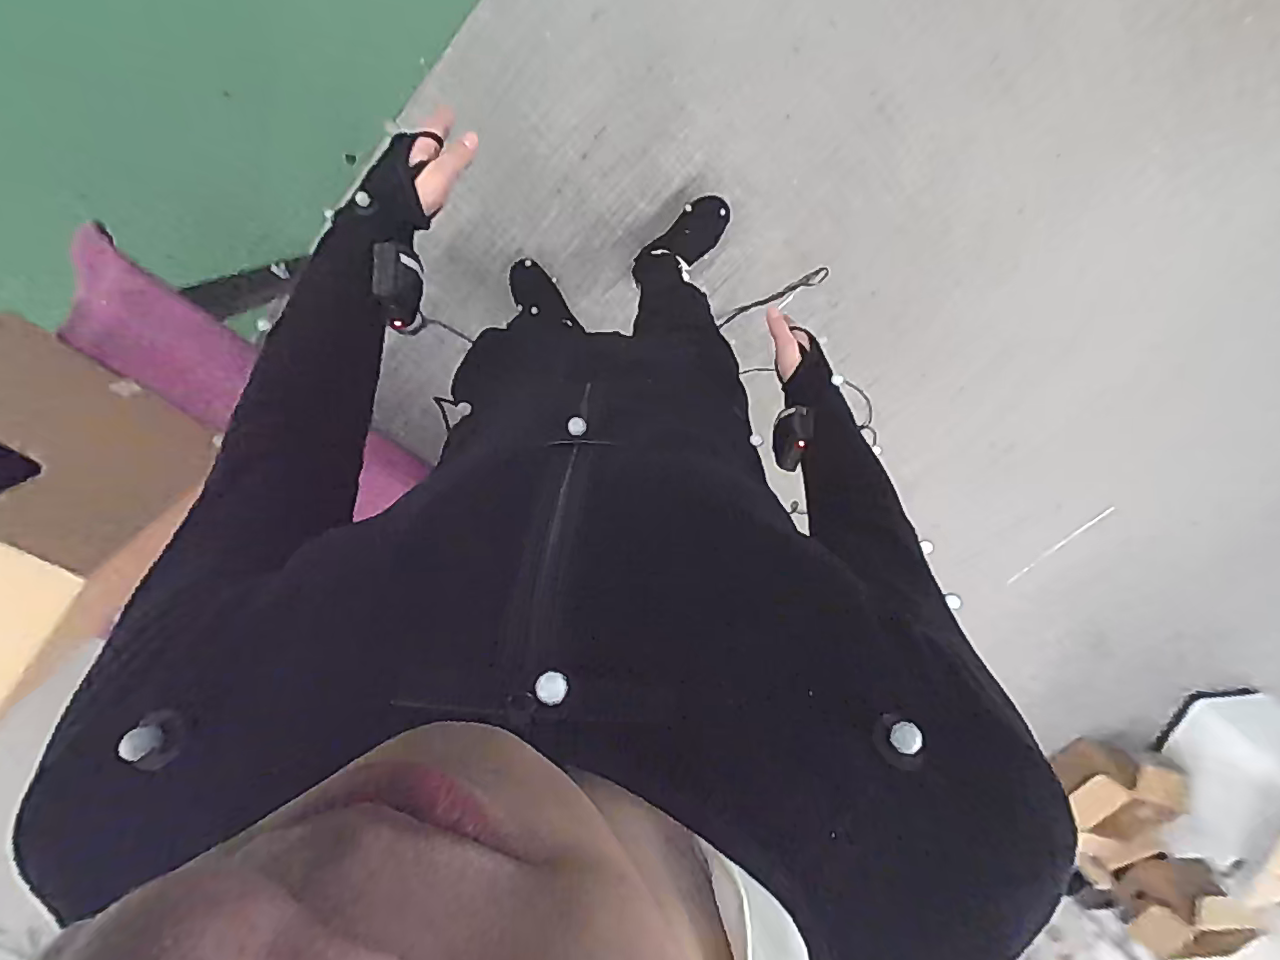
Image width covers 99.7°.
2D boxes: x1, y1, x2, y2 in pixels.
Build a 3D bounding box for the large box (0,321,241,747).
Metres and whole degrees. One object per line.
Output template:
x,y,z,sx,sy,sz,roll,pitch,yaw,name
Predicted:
-0.827,0.076,0.689,0.320,0.320,0.408,38,108,-25,large box
